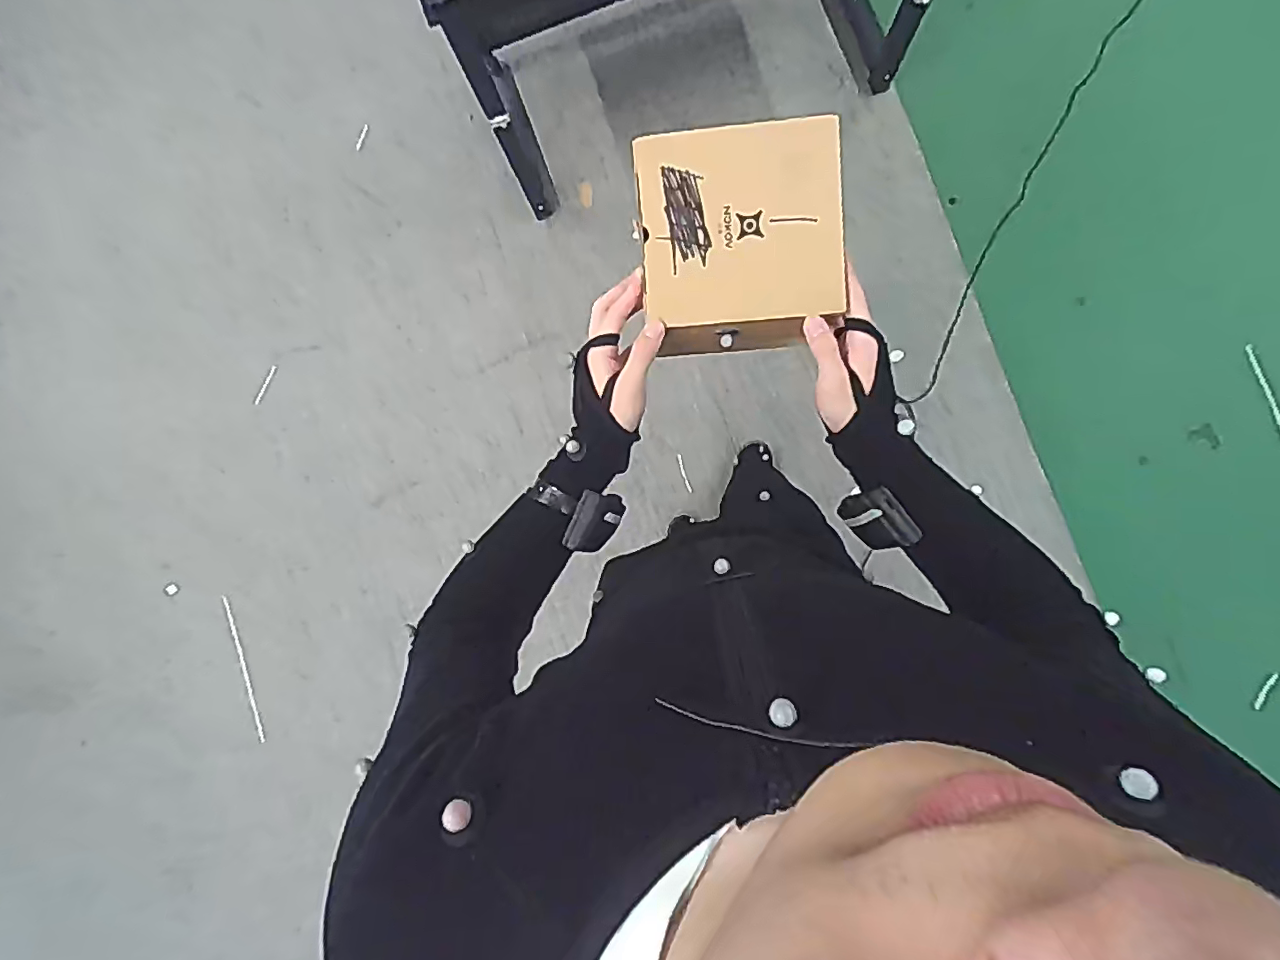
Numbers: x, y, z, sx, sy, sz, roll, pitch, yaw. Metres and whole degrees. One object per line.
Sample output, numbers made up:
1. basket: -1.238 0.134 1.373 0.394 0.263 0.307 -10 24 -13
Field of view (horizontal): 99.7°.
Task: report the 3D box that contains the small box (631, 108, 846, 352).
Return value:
1. small box: 0.091 -0.228 0.541 0.179 0.176 0.168 -4 94 5
